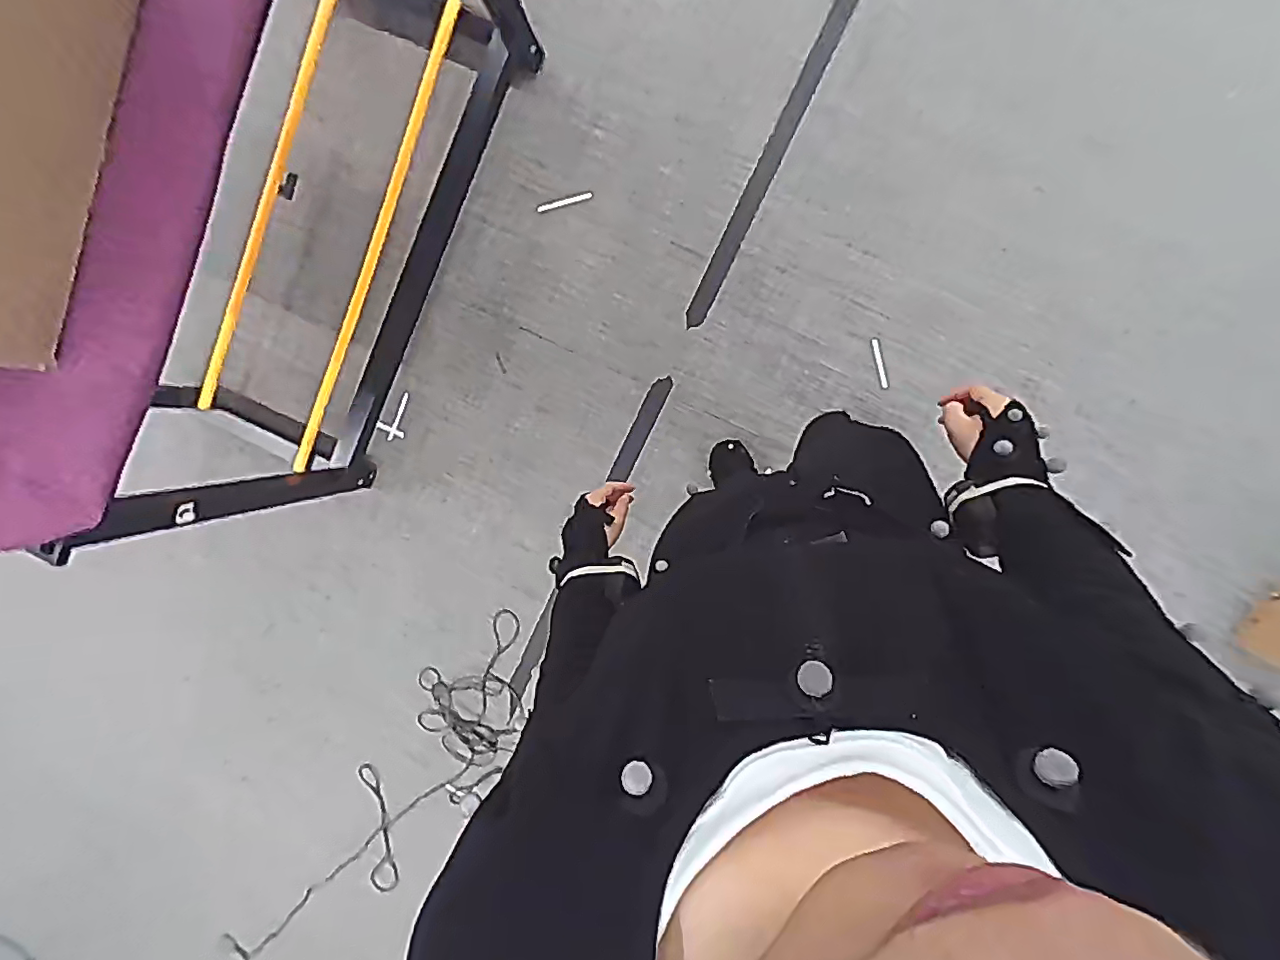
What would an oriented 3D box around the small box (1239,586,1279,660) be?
[{"bbox_3d":[1.478,0.339,1.157,0.179,0.176,0.168,27,99,3],"label":"small box"}]
